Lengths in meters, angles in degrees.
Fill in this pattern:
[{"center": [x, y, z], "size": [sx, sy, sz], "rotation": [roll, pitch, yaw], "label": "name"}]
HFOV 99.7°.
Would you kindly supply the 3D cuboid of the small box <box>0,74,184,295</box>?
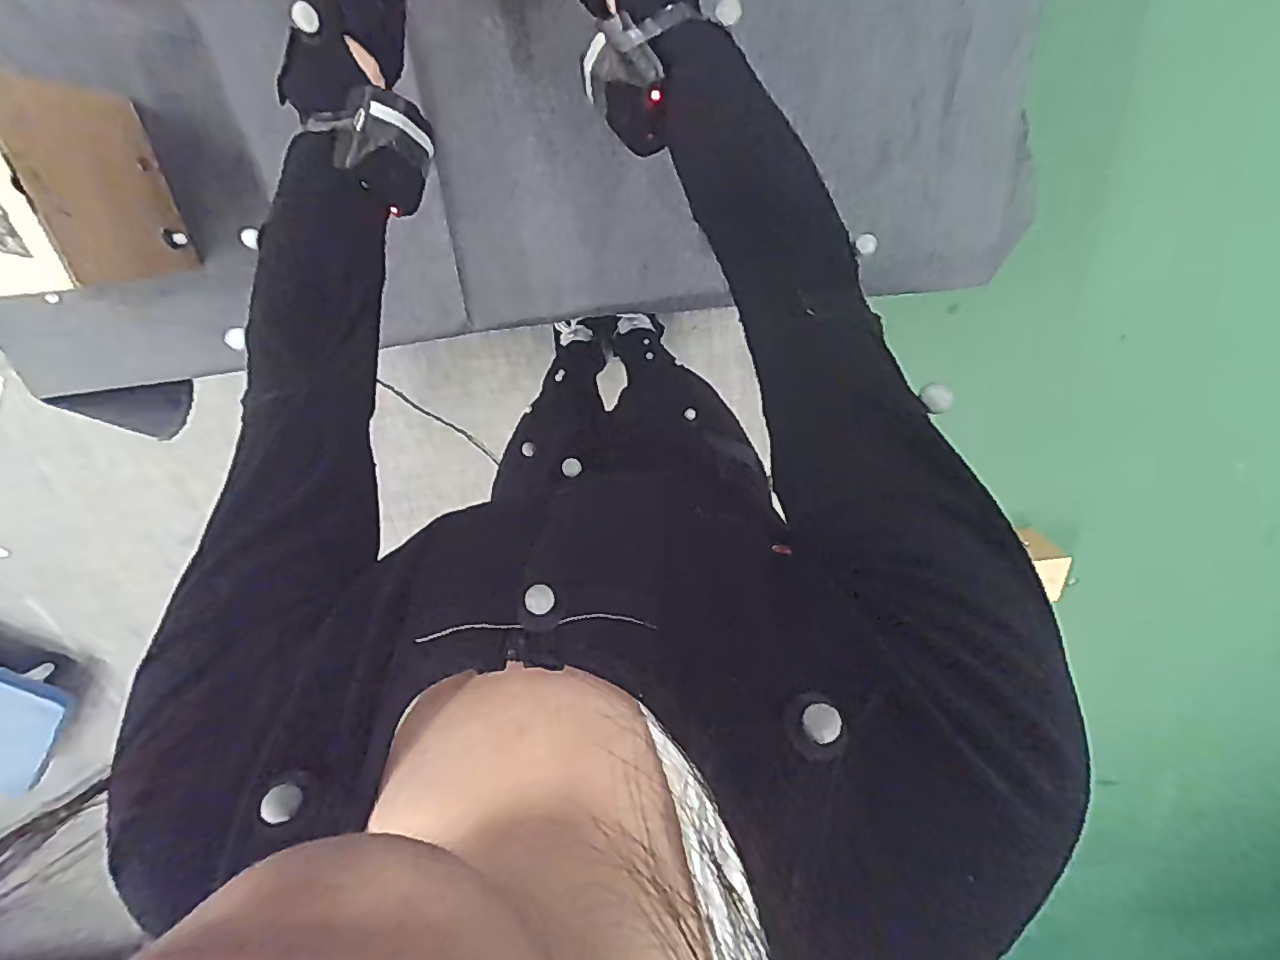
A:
[{"center": [-0.588, -0.271, 0.508], "size": [0.179, 0.176, 0.168], "rotation": [-5, 117, 0], "label": "small box"}]
